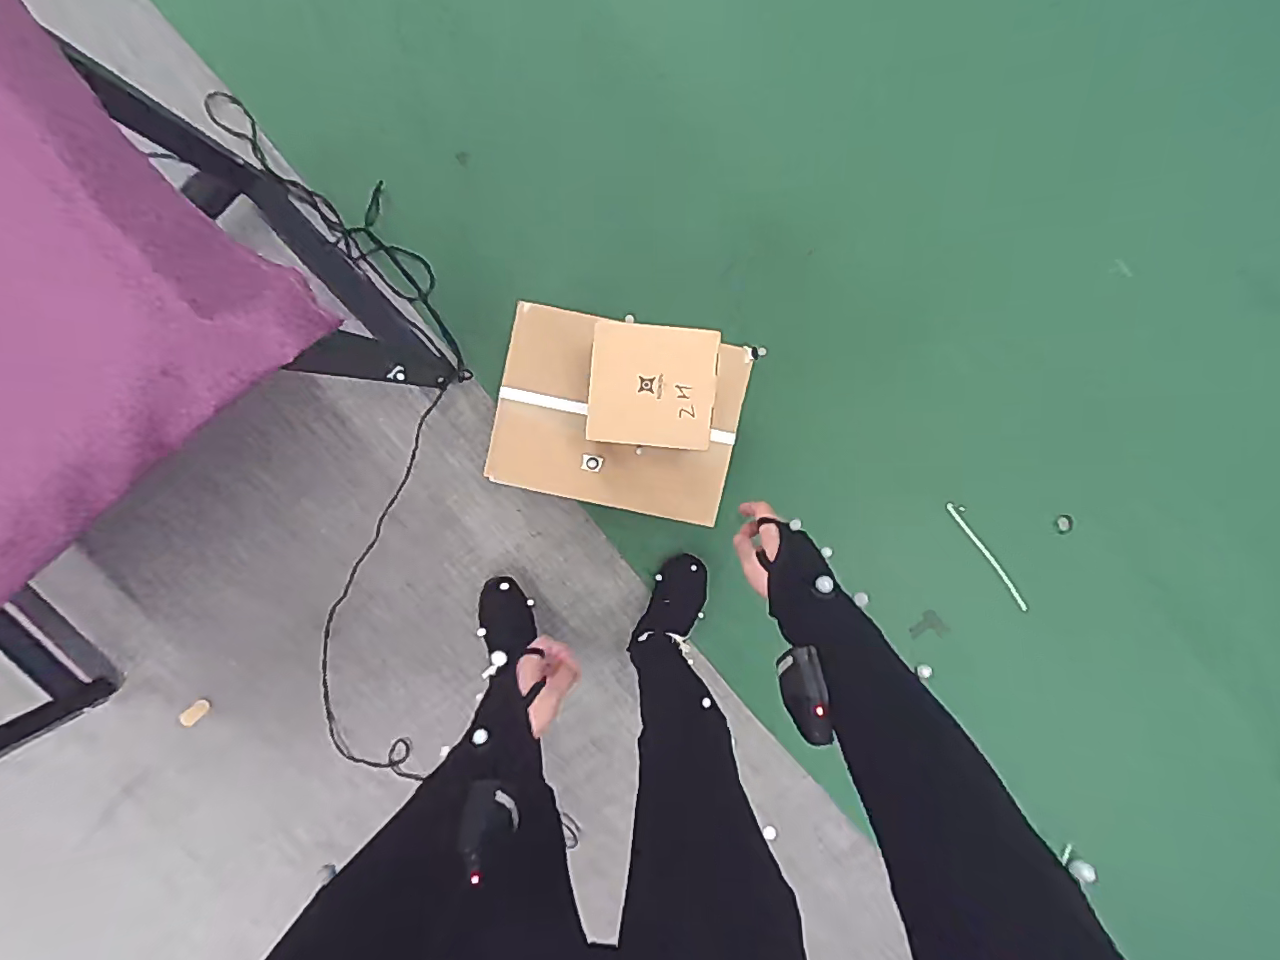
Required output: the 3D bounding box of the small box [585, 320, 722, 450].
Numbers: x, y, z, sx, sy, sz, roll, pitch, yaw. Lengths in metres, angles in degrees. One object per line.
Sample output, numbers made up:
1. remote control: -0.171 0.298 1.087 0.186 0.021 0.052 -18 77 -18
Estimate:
1. small box: 0.019 -0.136 0.821 0.179 0.176 0.168 5 96 0
